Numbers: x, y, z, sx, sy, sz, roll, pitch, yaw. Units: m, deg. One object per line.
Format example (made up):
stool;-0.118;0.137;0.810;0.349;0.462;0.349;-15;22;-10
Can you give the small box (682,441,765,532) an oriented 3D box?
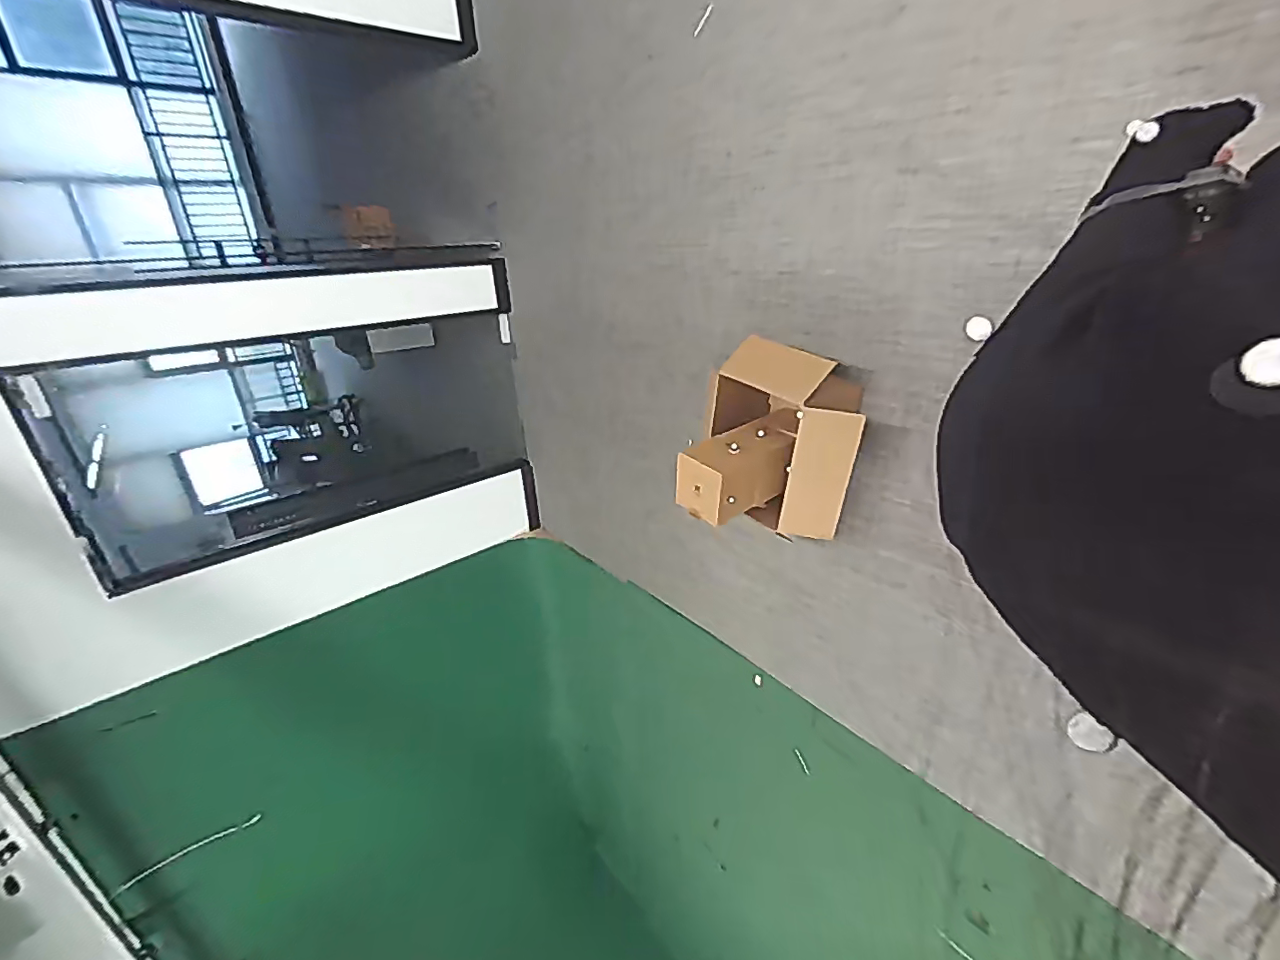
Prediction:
small box;0.237;0.013;1.541;0.168;0.176;0.179;30;131;40
